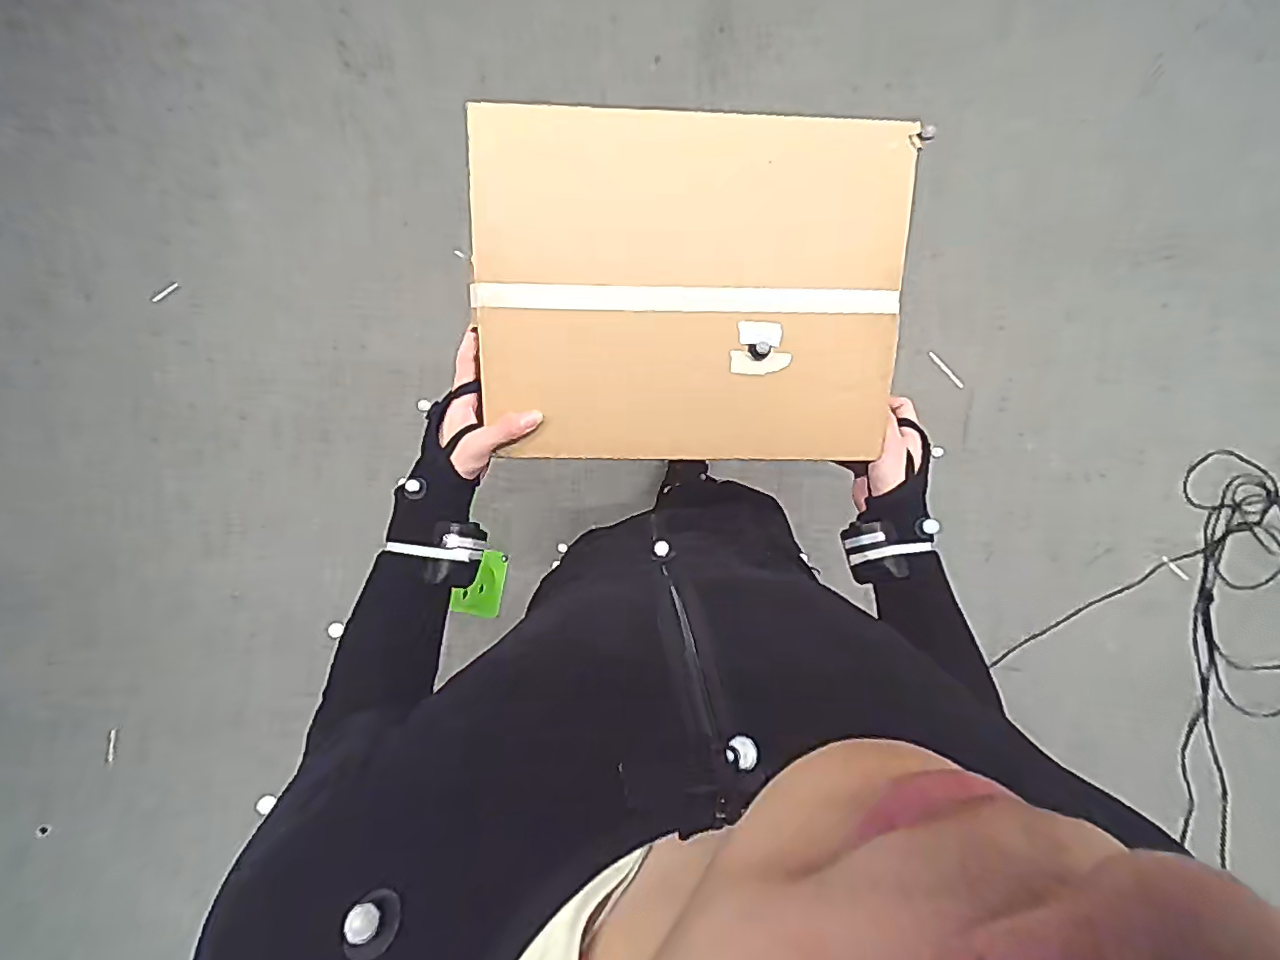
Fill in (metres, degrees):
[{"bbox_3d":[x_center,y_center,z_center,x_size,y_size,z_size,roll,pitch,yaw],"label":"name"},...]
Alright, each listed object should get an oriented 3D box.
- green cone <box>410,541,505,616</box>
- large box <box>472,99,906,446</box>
[{"bbox_3d":[-0.523,0.295,1.455,0.200,0.368,0.202,10,91,1],"label":"green cone"},{"bbox_3d":[0.038,-0.222,0.664,0.408,0.320,0.320,0,104,-4],"label":"large box"}]
